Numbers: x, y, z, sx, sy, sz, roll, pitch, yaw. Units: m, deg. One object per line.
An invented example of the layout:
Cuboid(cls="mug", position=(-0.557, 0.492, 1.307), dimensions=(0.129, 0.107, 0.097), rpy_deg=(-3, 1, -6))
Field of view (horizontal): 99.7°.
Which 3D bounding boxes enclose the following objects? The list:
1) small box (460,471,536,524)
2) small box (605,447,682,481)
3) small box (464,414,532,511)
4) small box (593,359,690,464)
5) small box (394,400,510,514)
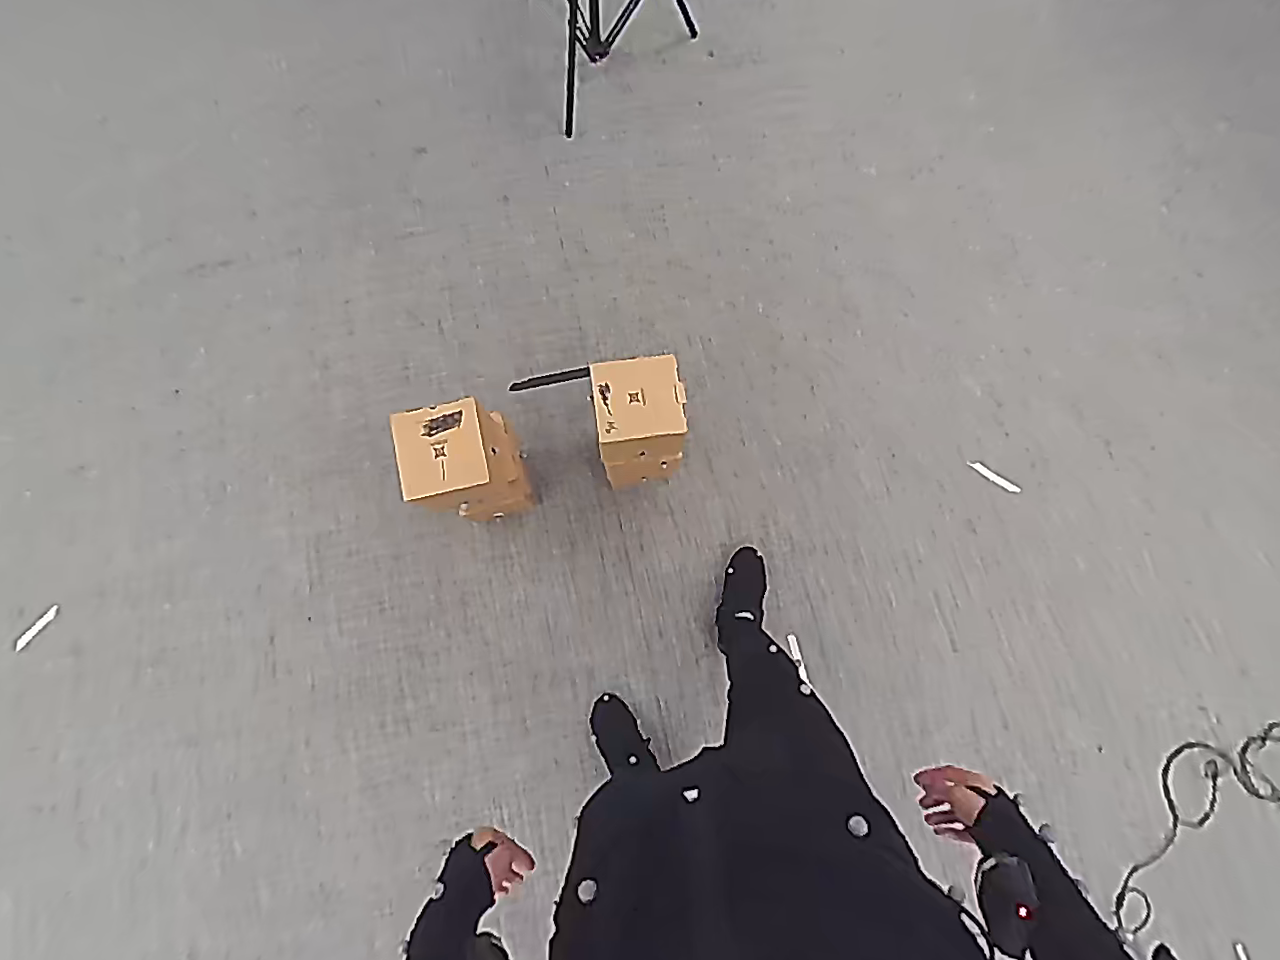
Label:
Cuboid(cls="small box", position=(-0.383, 0.006, 1.425), dimensions=(0.168, 0.176, 0.179), rpy_deg=(-15, 79, -4))
Cuboid(cls="small box", position=(-0.001, -0.100, 1.289), dimensions=(0.179, 0.176, 0.168), rpy_deg=(-6, 79, -3))
Cuboid(cls="small box", position=(-0.368, -0.033, 1.266), dimensions=(0.179, 0.176, 0.168), rpy_deg=(-16, 79, -4))
Cuboid(cls="small box", position=(-0.004, -0.138, 1.129), dimensions=(0.179, 0.176, 0.168), rpy_deg=(-7, 78, -4))
Cuboid(cls="small box", position=(-0.375, -0.040, 1.099), dimensions=(0.168, 0.176, 0.179), rpy_deg=(-13, 80, -2))
